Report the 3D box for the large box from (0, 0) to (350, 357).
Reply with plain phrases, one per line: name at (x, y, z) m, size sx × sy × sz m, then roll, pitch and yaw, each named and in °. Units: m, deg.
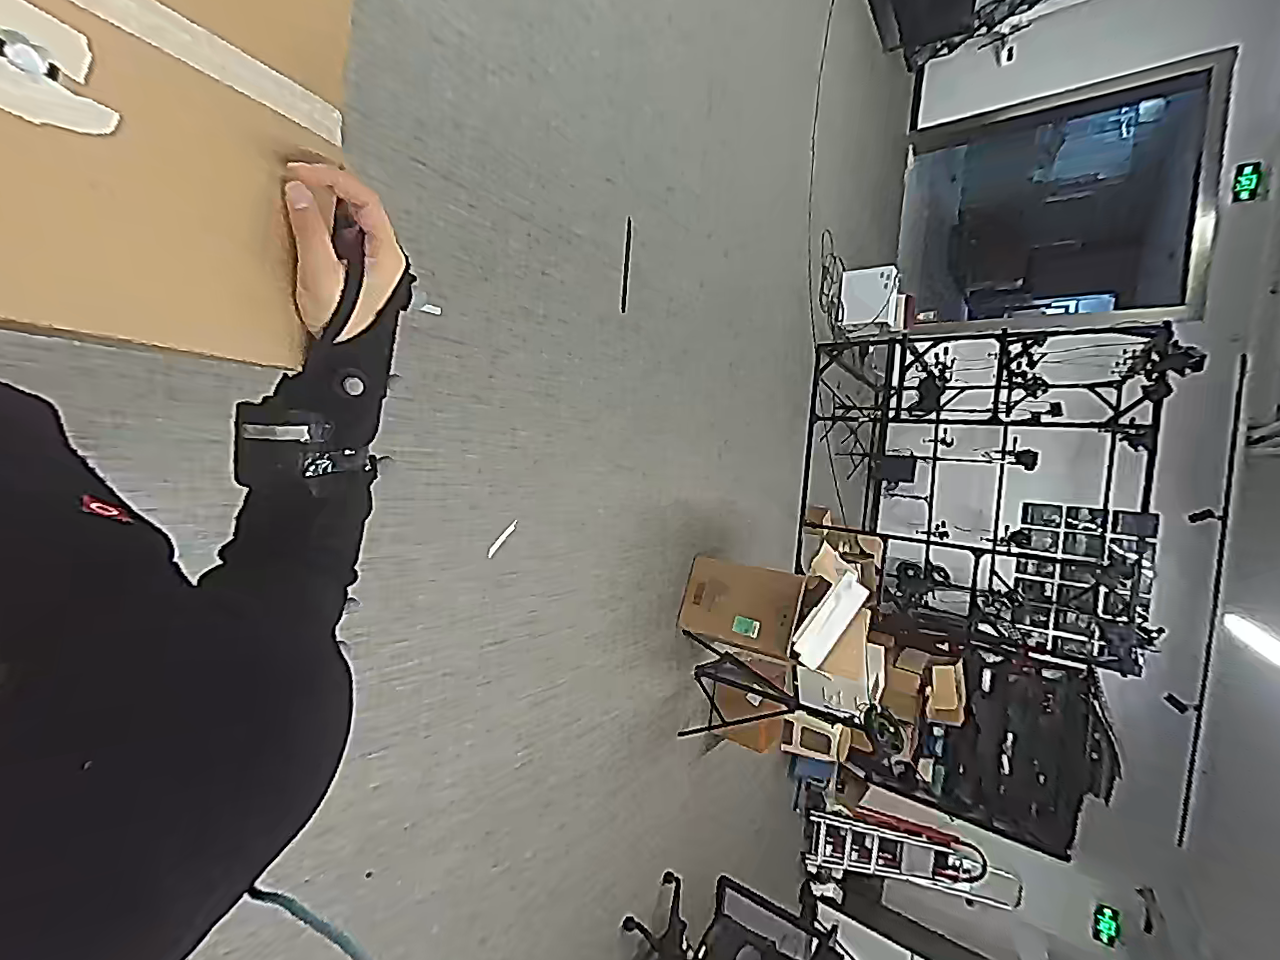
large box at (-0.431, -0.257, 0.264) m, size 0.408 × 0.320 × 0.320 m, roll 1°, pitch 100°, yaw -60°
